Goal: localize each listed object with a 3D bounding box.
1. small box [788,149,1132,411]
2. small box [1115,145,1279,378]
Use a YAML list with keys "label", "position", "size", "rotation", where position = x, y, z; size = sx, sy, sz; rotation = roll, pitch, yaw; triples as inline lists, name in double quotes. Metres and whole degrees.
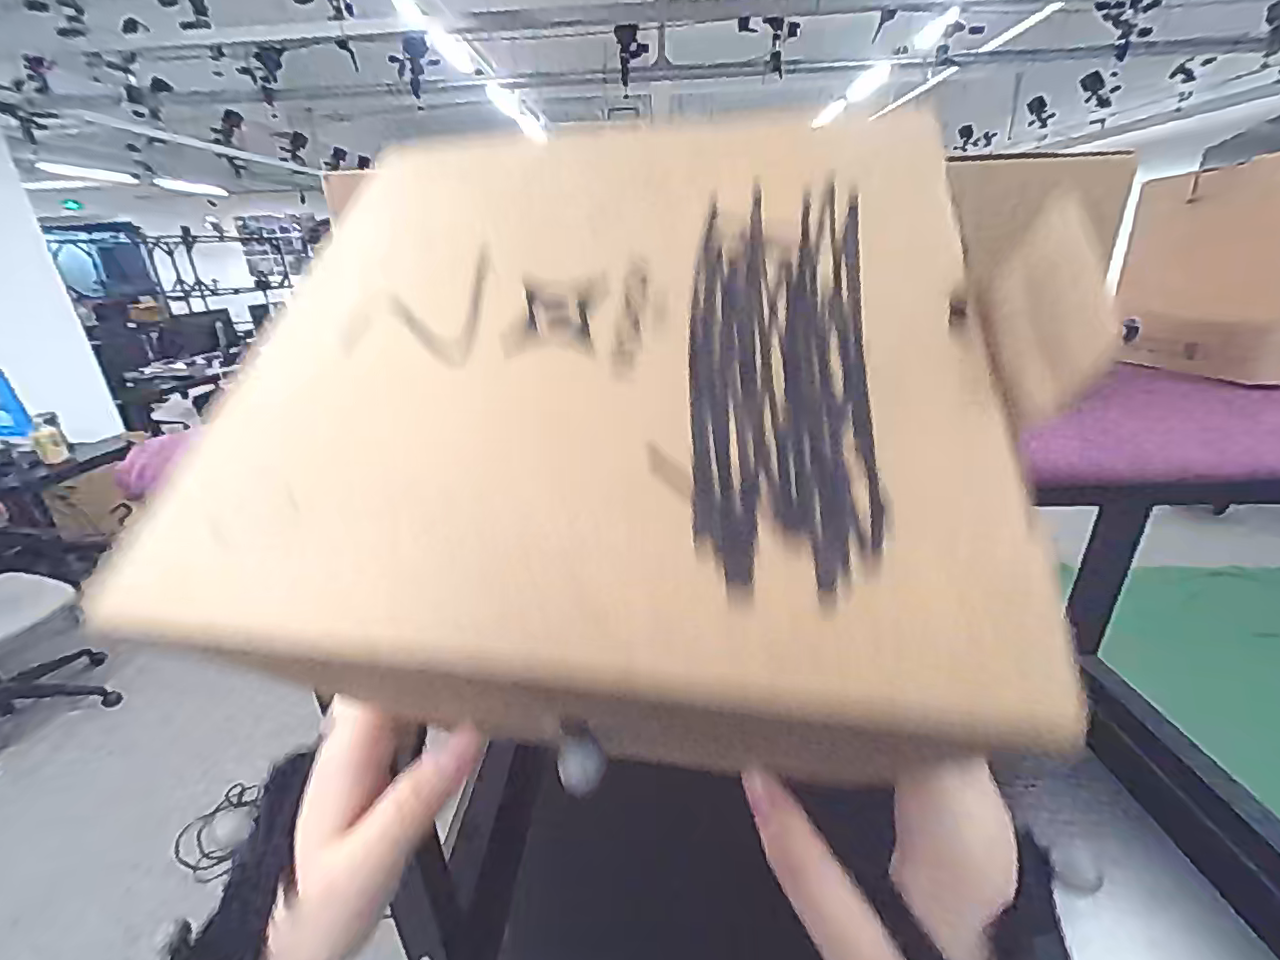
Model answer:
- label: "small box"
  position: [0.231, -0.160, 0.447]
  size: [0.179, 0.176, 0.168]
  rotation: [-3, 23, 1]
- label: "small box"
  position: [0.553, -0.182, 0.455]
  size: [0.179, 0.176, 0.168]
  rotation: [-1, 21, 4]
